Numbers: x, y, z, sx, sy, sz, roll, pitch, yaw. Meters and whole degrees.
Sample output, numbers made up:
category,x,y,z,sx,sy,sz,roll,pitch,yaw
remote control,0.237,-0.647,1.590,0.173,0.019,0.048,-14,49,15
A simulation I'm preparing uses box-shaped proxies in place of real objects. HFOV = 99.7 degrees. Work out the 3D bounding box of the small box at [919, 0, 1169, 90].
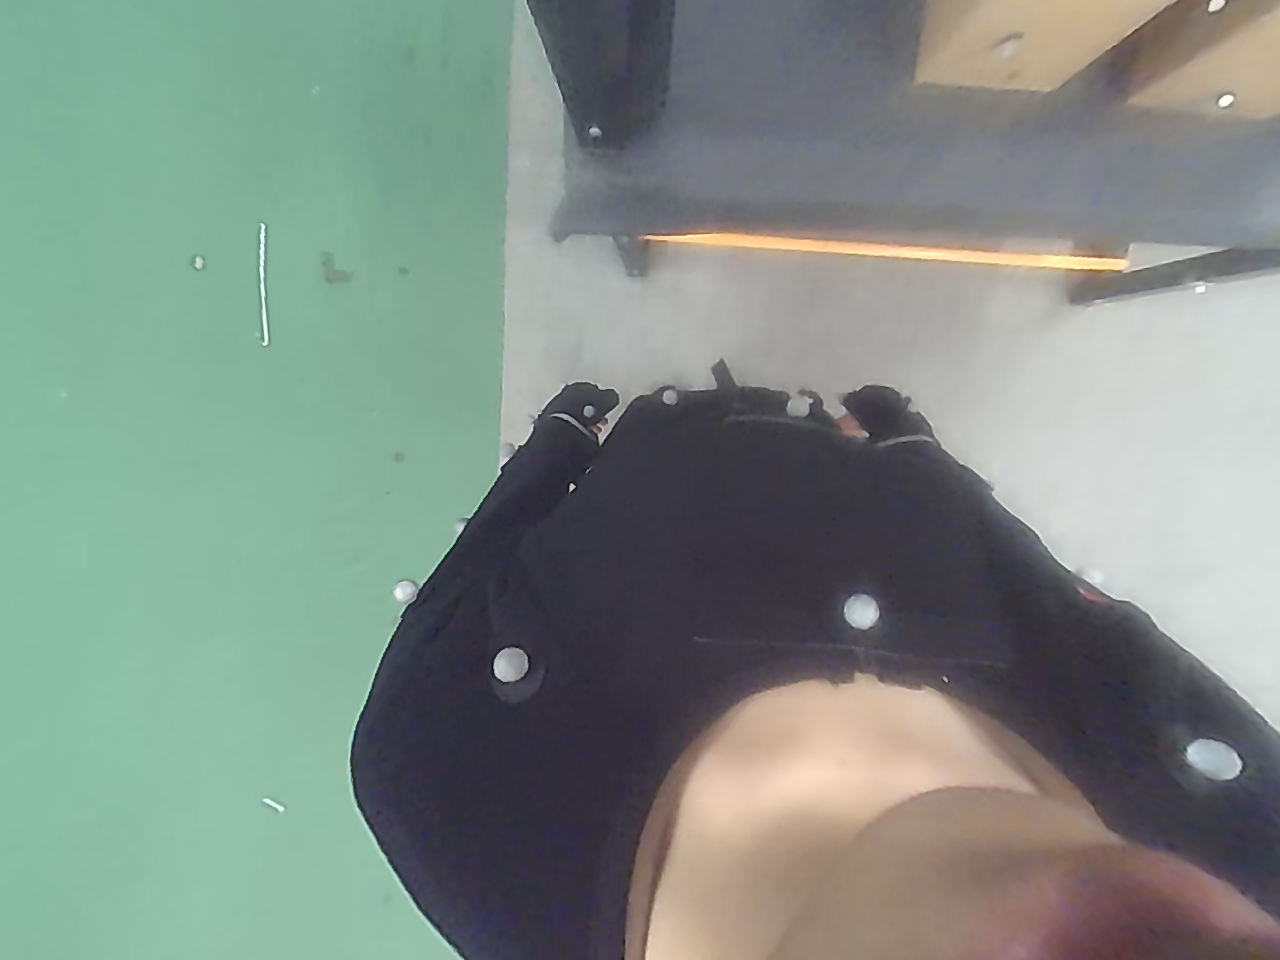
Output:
category,x,y,z,sx,sy,sz,roll,pitch,yaw
small box,0.412,-0.536,0.552,0.168,0.176,0.179,5,100,2
